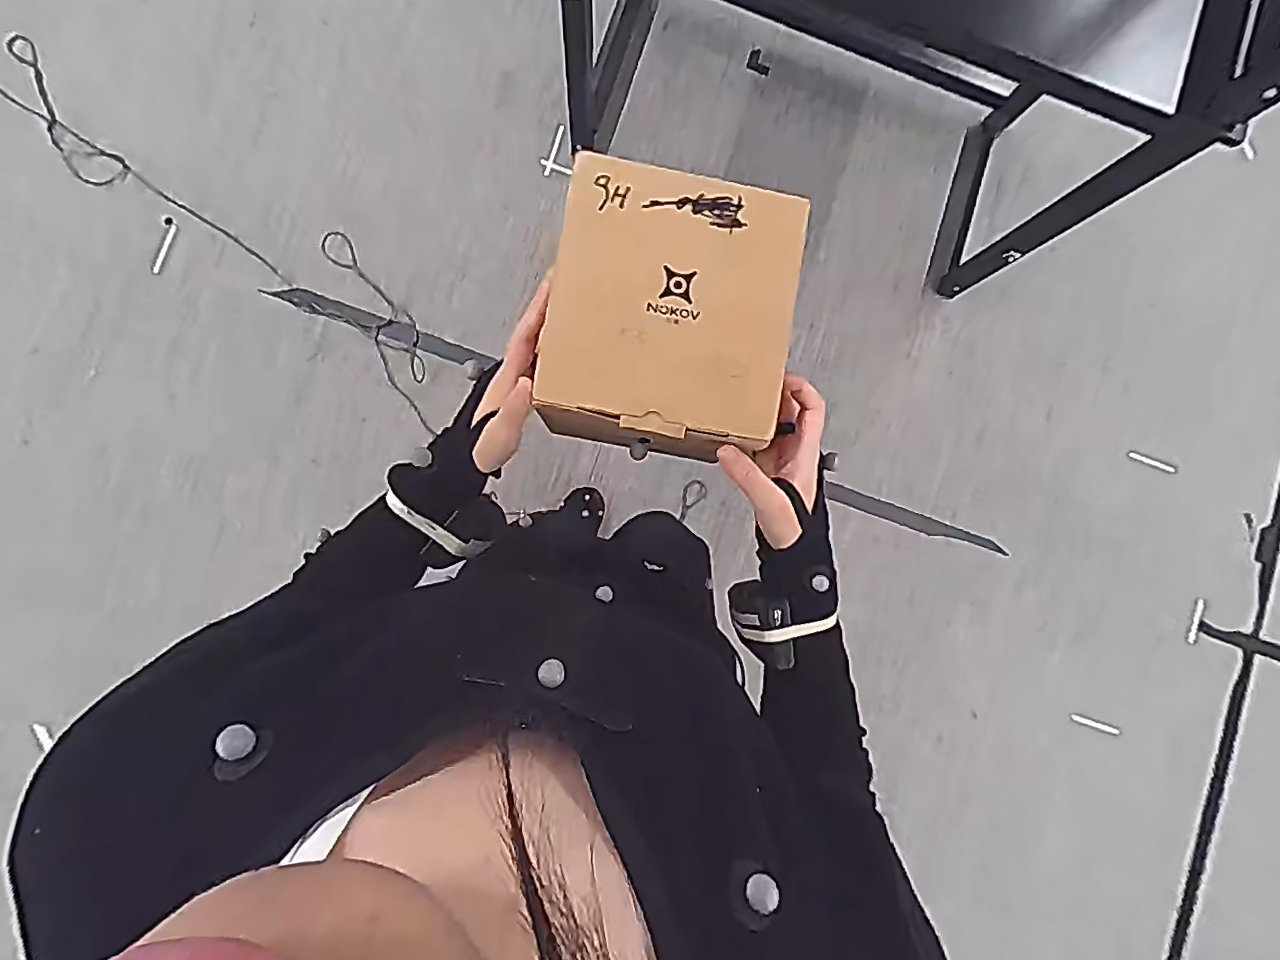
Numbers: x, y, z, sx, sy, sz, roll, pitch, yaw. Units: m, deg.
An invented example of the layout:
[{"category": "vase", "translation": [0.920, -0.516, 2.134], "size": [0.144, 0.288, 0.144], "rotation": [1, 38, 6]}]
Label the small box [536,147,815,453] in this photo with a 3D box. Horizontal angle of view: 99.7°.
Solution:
[{"category": "small box", "translation": [0.020, -0.123, 0.443], "size": [0.168, 0.176, 0.179], "rotation": [10, 88, -4]}]
